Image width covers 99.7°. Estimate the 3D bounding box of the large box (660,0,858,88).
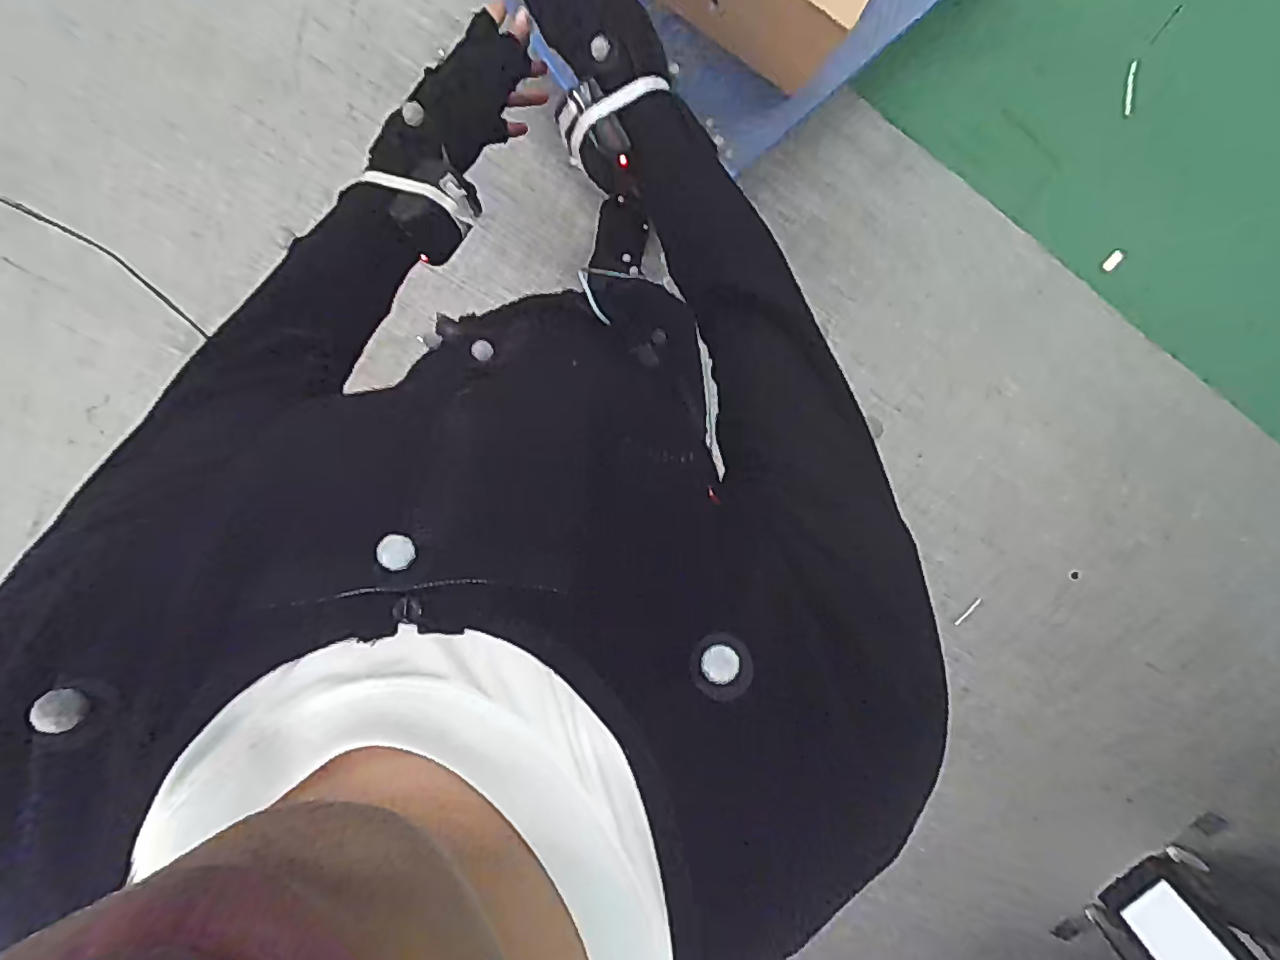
[{"bbox_3d":[0.192,-0.915,0.834,0.408,0.320,0.320,29,108,-10],"label":"large box"}]
